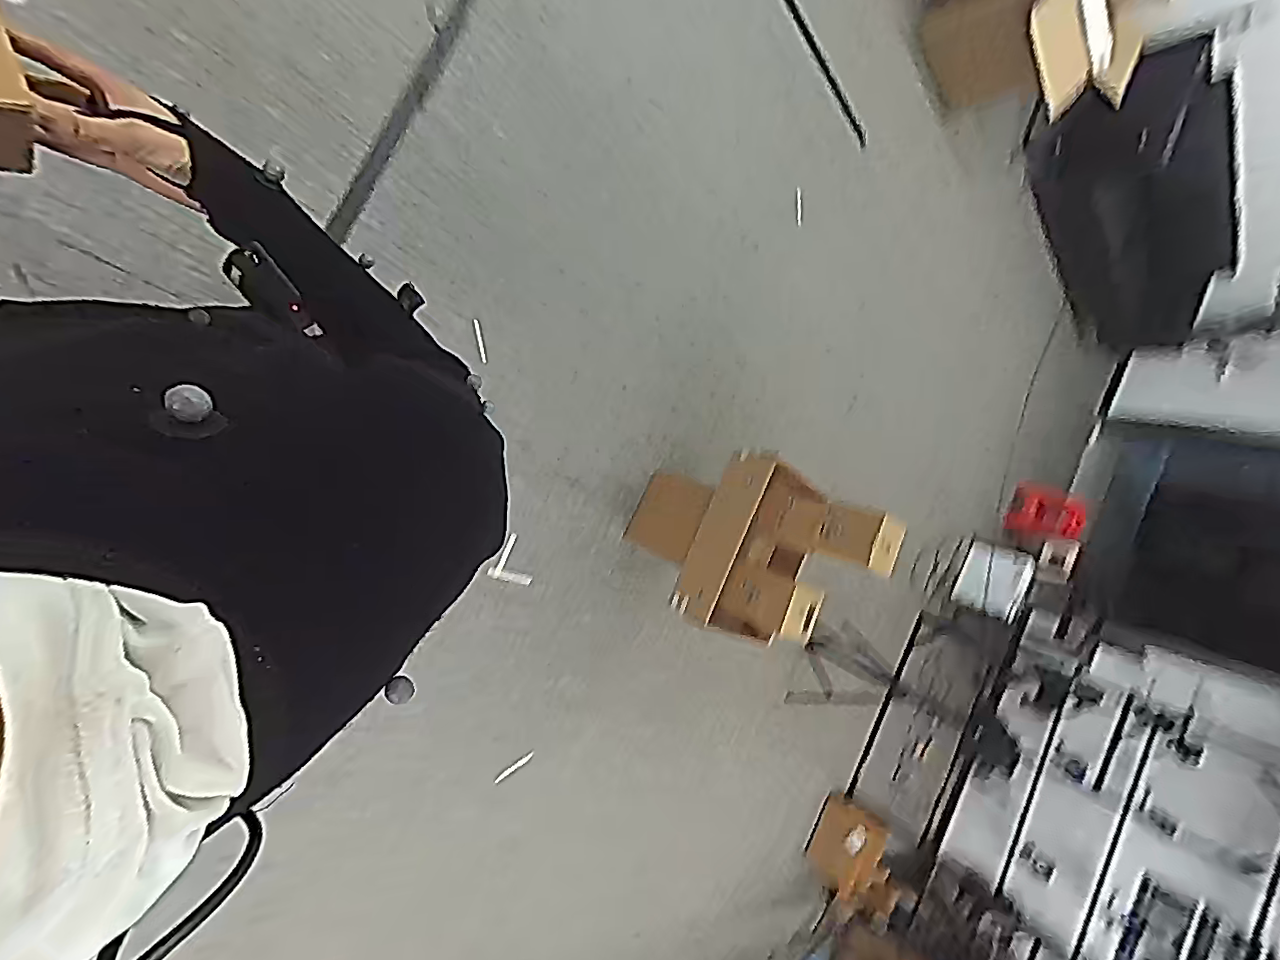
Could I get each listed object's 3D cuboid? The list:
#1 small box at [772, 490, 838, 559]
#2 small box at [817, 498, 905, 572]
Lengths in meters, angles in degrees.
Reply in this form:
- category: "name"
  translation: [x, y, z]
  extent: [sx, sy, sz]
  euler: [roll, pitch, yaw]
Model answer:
- category: "small box"
  translation: [0.562, 0.141, 1.773]
  extent: [0.179, 0.176, 0.168]
  euler: [23, 87, -42]
- category: "small box"
  translation: [0.674, 0.165, 1.654]
  extent: [0.179, 0.176, 0.168]
  euler: [21, 88, -42]
